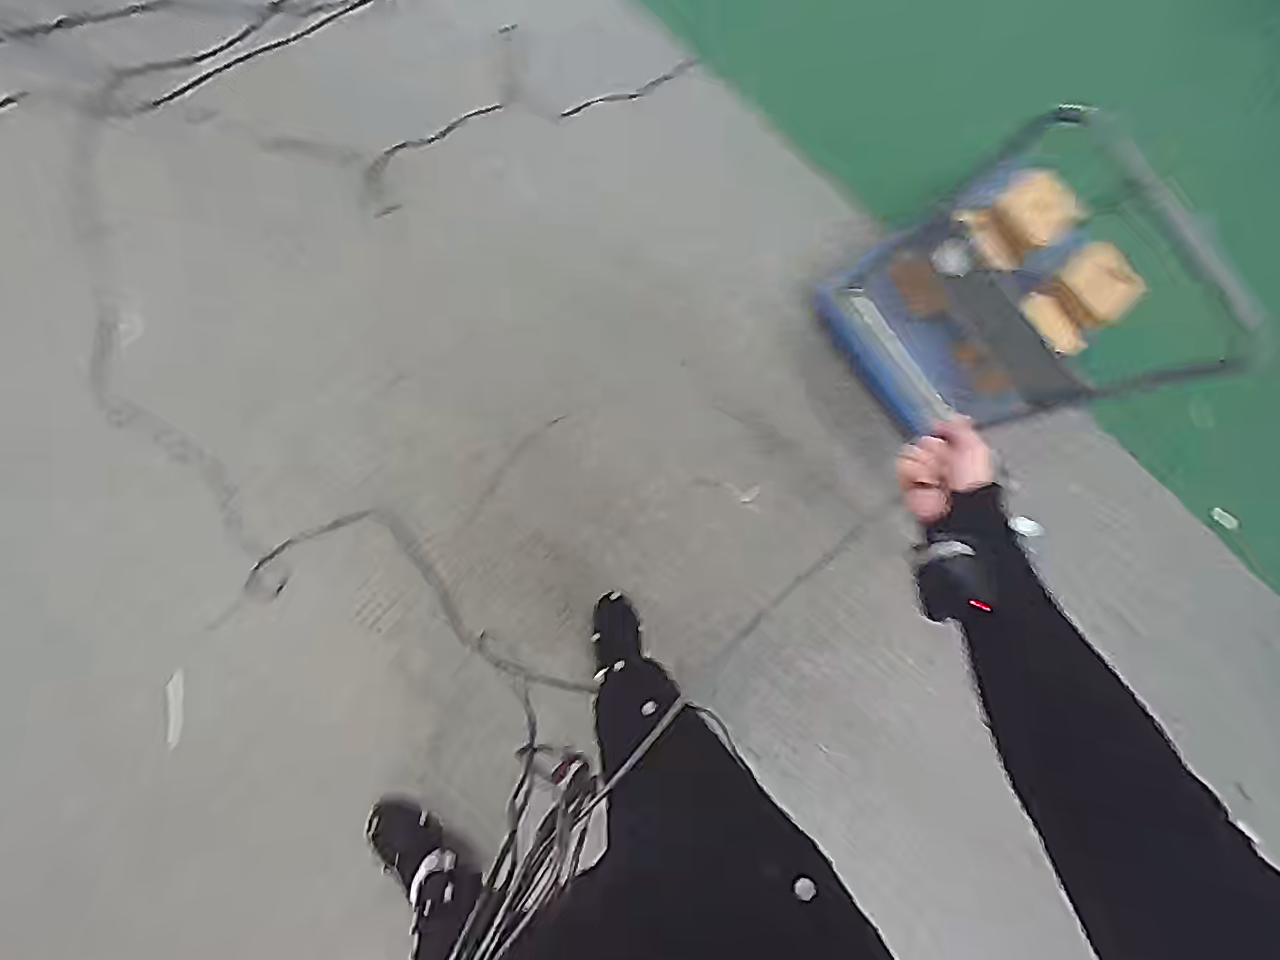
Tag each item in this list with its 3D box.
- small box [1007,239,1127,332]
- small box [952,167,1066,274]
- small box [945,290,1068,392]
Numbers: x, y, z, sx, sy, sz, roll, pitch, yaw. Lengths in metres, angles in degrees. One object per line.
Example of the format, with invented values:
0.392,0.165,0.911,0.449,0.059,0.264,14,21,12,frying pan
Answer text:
1.175,-0.520,1.502,0.179,0.176,0.168,-41,89,-13,small box
1.010,-0.710,1.501,0.179,0.176,0.168,-41,91,-14,small box
0.965,-0.362,1.437,0.179,0.176,0.168,-36,89,-14,small box
